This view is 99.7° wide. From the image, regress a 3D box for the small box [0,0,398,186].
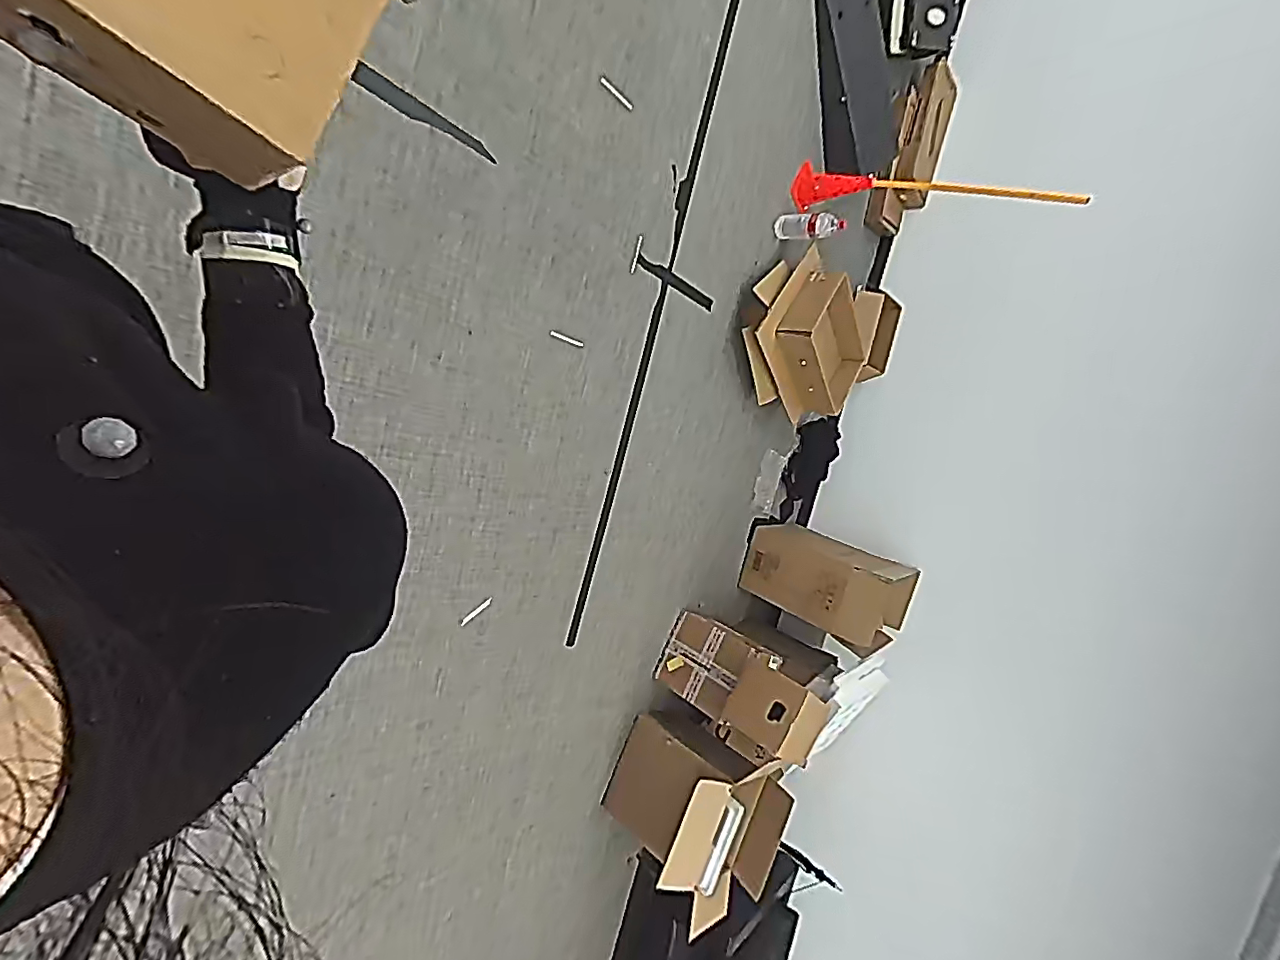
[{"bbox_3d":[-0.250,-0.296,0.301,0.168,0.176,0.179,26,86,-47],"label":"small box"}]
